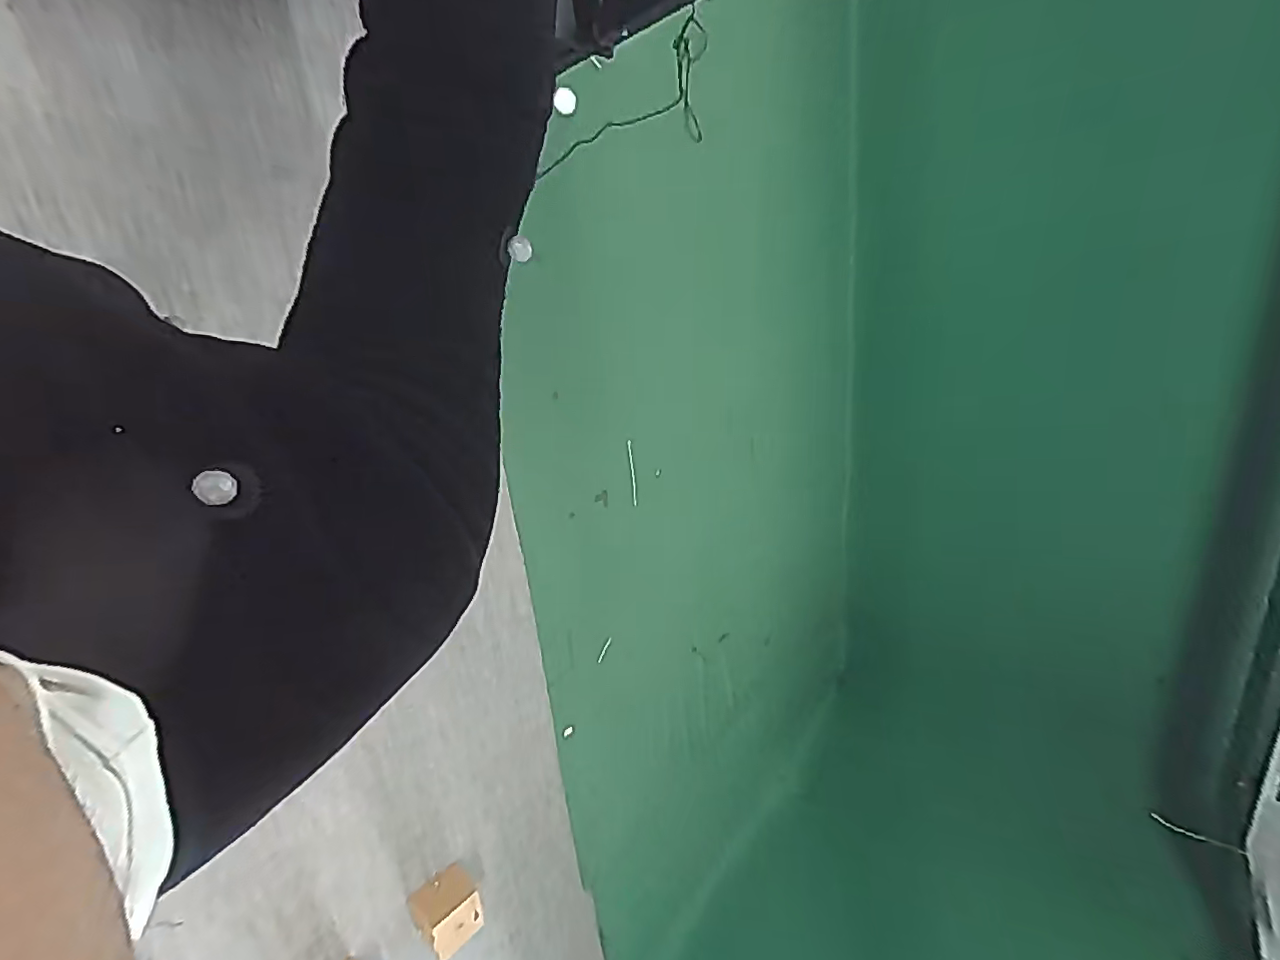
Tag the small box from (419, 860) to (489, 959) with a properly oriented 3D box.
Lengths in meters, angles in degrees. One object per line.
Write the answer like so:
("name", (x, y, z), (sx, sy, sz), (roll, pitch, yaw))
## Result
("small box", (-0.669, 1.524, 1.929), (0.179, 0.176, 0.168), (-19, 111, -44))
